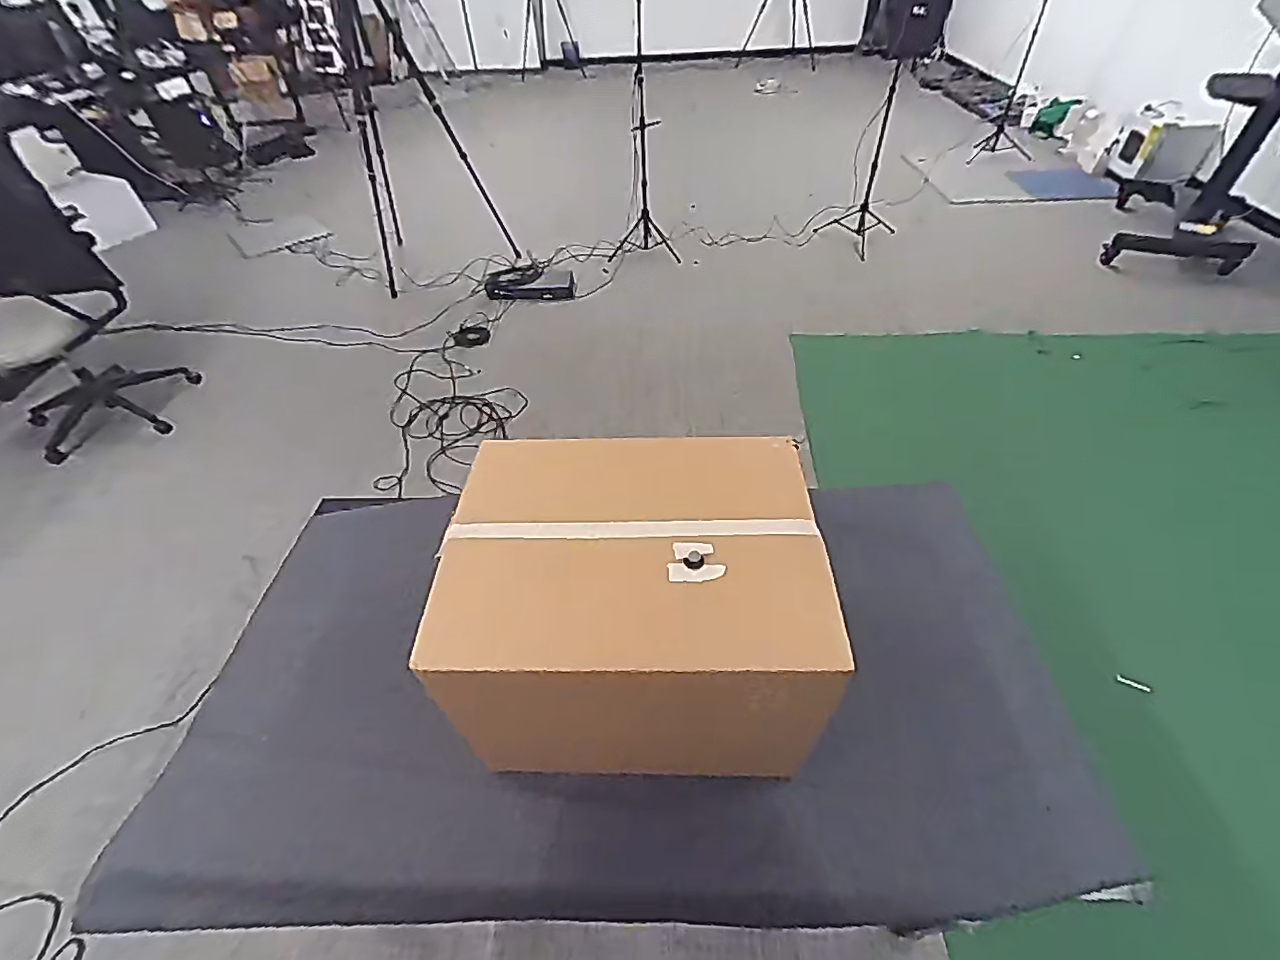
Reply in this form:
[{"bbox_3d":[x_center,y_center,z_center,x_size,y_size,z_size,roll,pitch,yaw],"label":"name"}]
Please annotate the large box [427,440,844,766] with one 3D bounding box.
[{"bbox_3d":[-0.003,0.165,0.714,0.408,0.320,0.320,-1,47,2],"label":"large box"}]
